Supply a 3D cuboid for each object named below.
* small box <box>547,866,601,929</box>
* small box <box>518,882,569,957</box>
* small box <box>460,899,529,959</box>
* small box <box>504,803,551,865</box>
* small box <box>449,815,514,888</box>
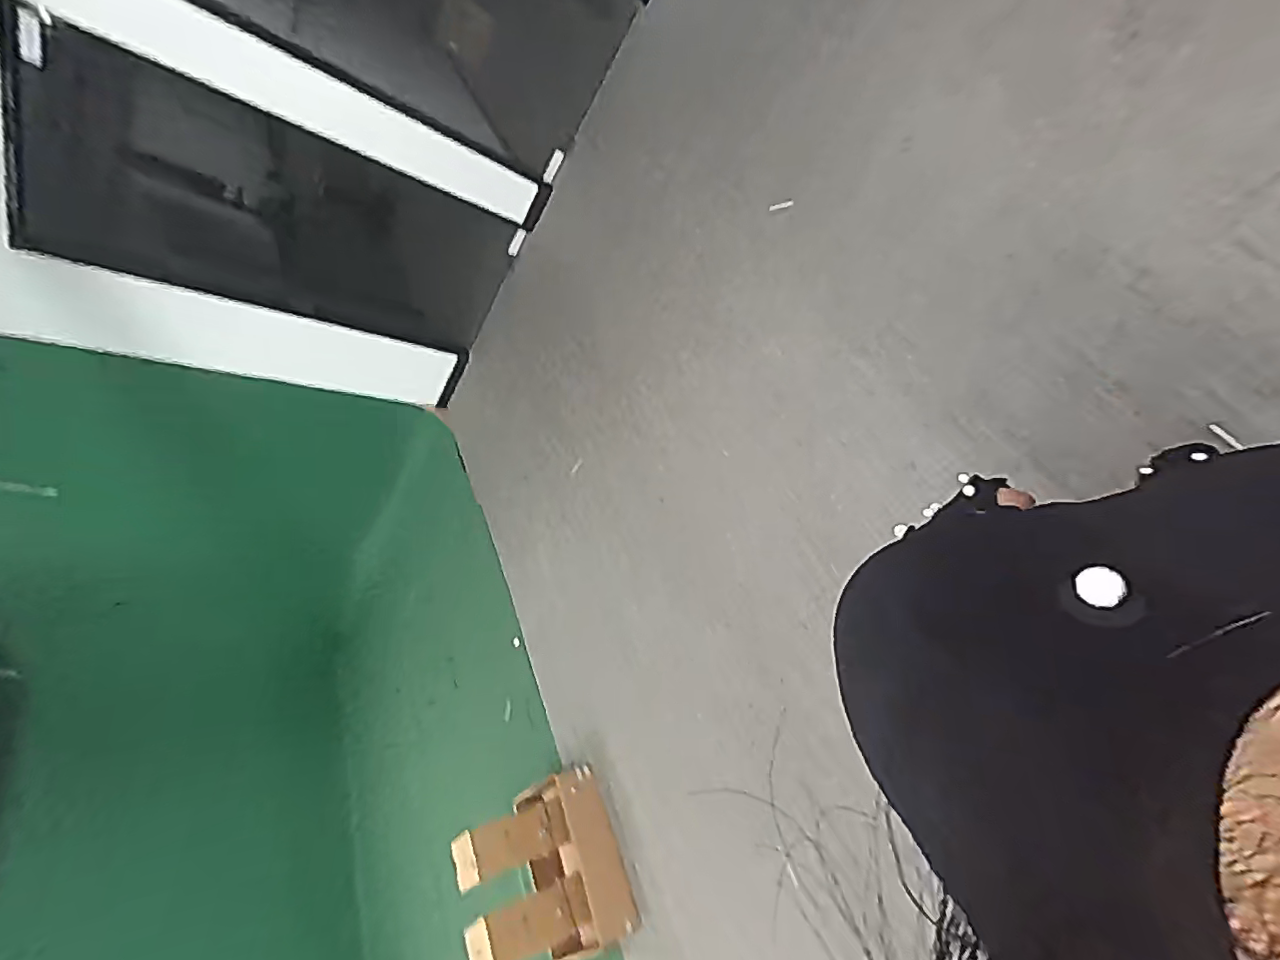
[{"bbox_3d":[-0.286,1.693,2.170,0.179,0.176,0.168,-50,50,29],"label":"small box"},{"bbox_3d":[-0.397,1.672,2.050,0.179,0.176,0.168,-51,50,26],"label":"small box"},{"bbox_3d":[-0.516,1.649,1.939,0.179,0.176,0.168,-52,48,27],"label":"small box"},{"bbox_3d":[-0.489,1.439,2.187,0.179,0.176,0.168,-44,56,31],"label":"small box"},{"bbox_3d":[-0.608,1.423,2.074,0.179,0.176,0.168,-48,53,32],"label":"small box"}]
